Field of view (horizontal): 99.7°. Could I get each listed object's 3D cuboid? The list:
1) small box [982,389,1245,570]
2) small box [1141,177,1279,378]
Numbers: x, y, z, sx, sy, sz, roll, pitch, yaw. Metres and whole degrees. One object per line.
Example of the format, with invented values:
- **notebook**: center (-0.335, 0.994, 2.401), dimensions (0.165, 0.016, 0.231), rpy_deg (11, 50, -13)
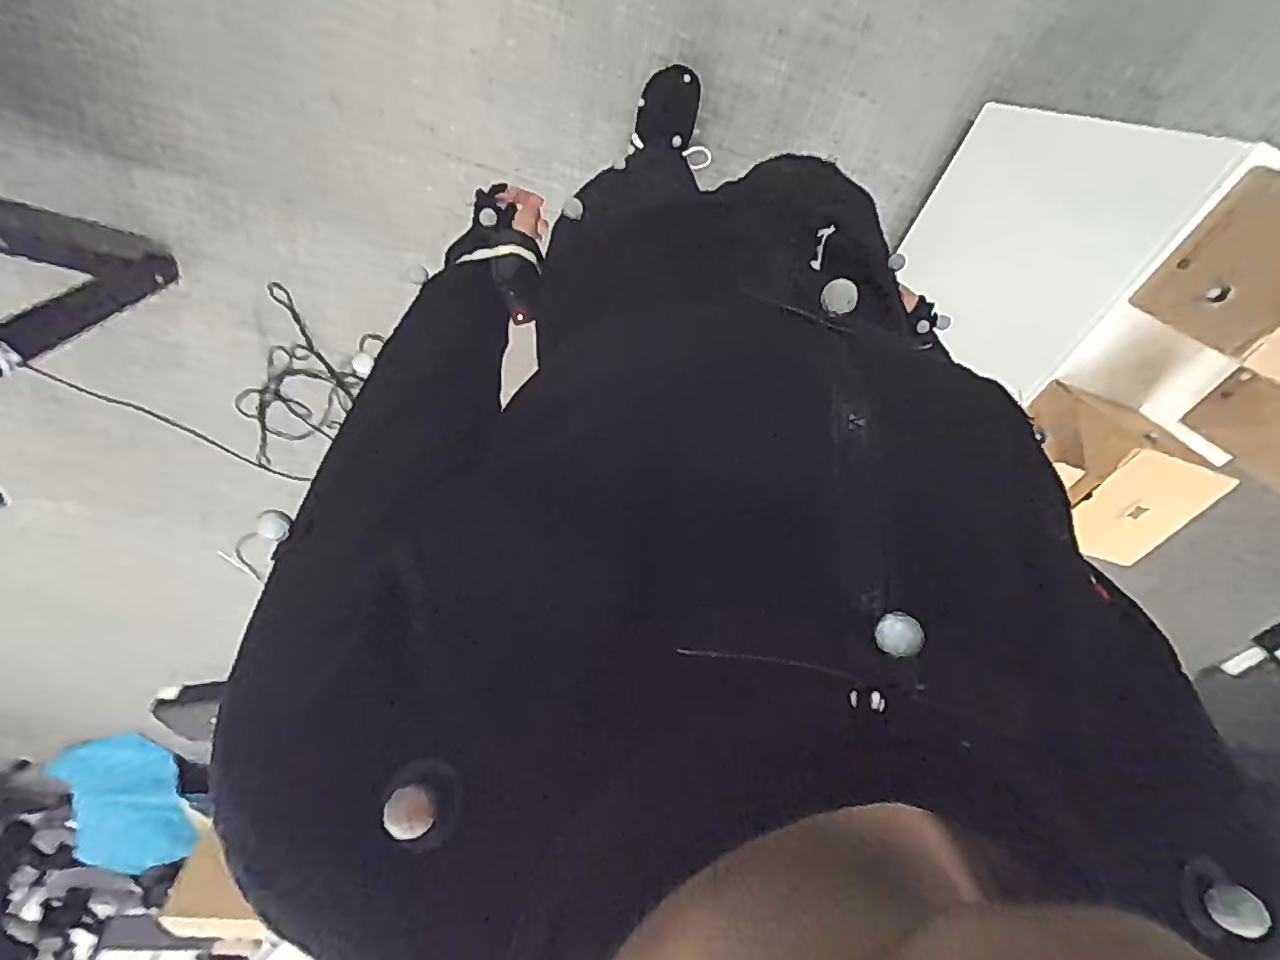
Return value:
- **small box**: center (0.636, -0.004, 0.752), dimensions (0.179, 0.176, 0.168), rpy_deg (14, 126, -14)
- **small box**: center (0.729, -0.210, 0.593), dimensions (0.179, 0.176, 0.168), rpy_deg (13, 128, -15)
